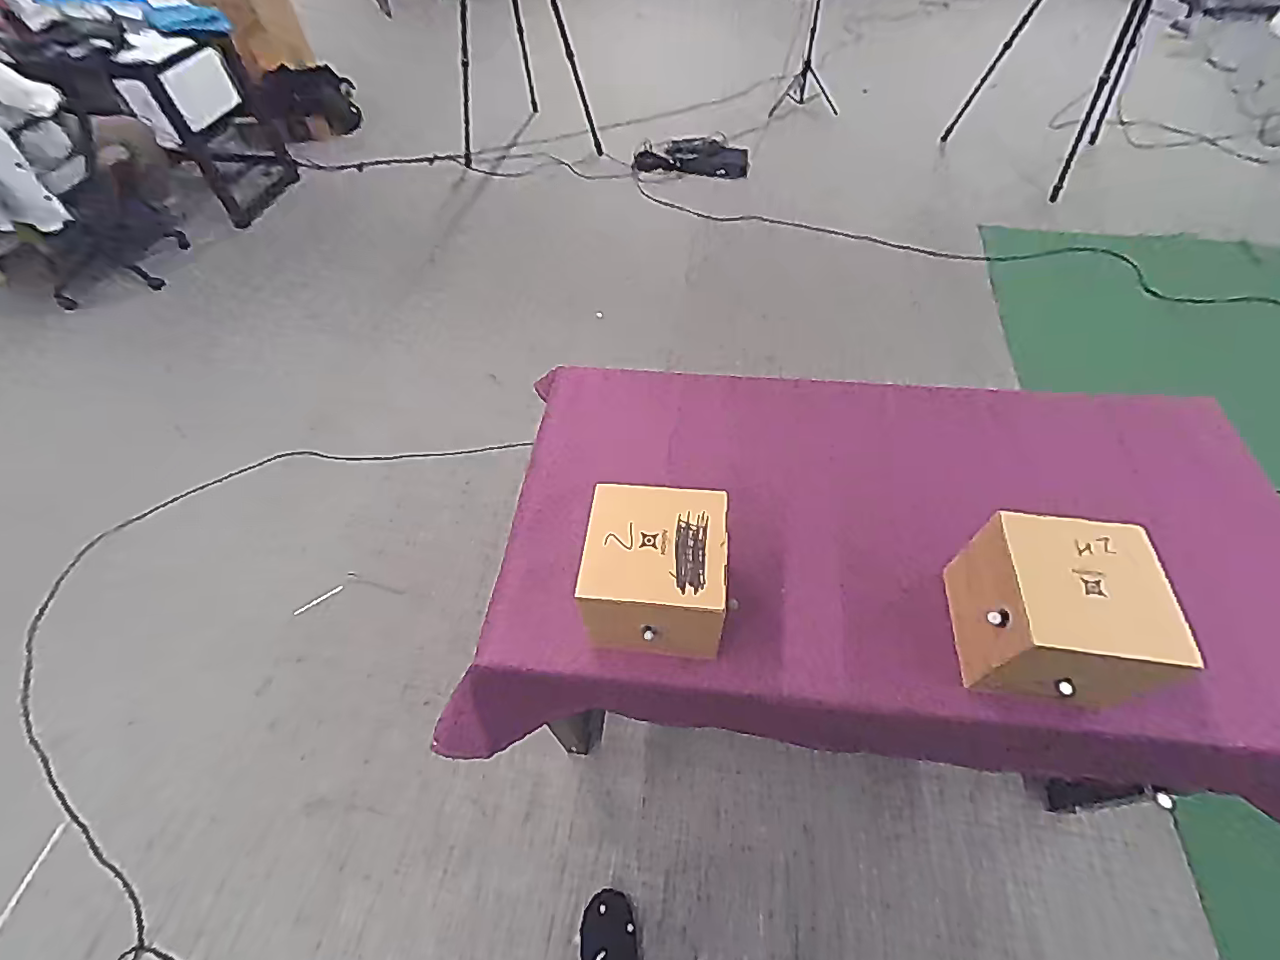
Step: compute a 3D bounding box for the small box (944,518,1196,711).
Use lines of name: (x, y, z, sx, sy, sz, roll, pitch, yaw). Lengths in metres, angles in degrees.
small box: (0.510, 0.173, 0.678, 0.168, 0.176, 0.179, 7, 54, 7)
